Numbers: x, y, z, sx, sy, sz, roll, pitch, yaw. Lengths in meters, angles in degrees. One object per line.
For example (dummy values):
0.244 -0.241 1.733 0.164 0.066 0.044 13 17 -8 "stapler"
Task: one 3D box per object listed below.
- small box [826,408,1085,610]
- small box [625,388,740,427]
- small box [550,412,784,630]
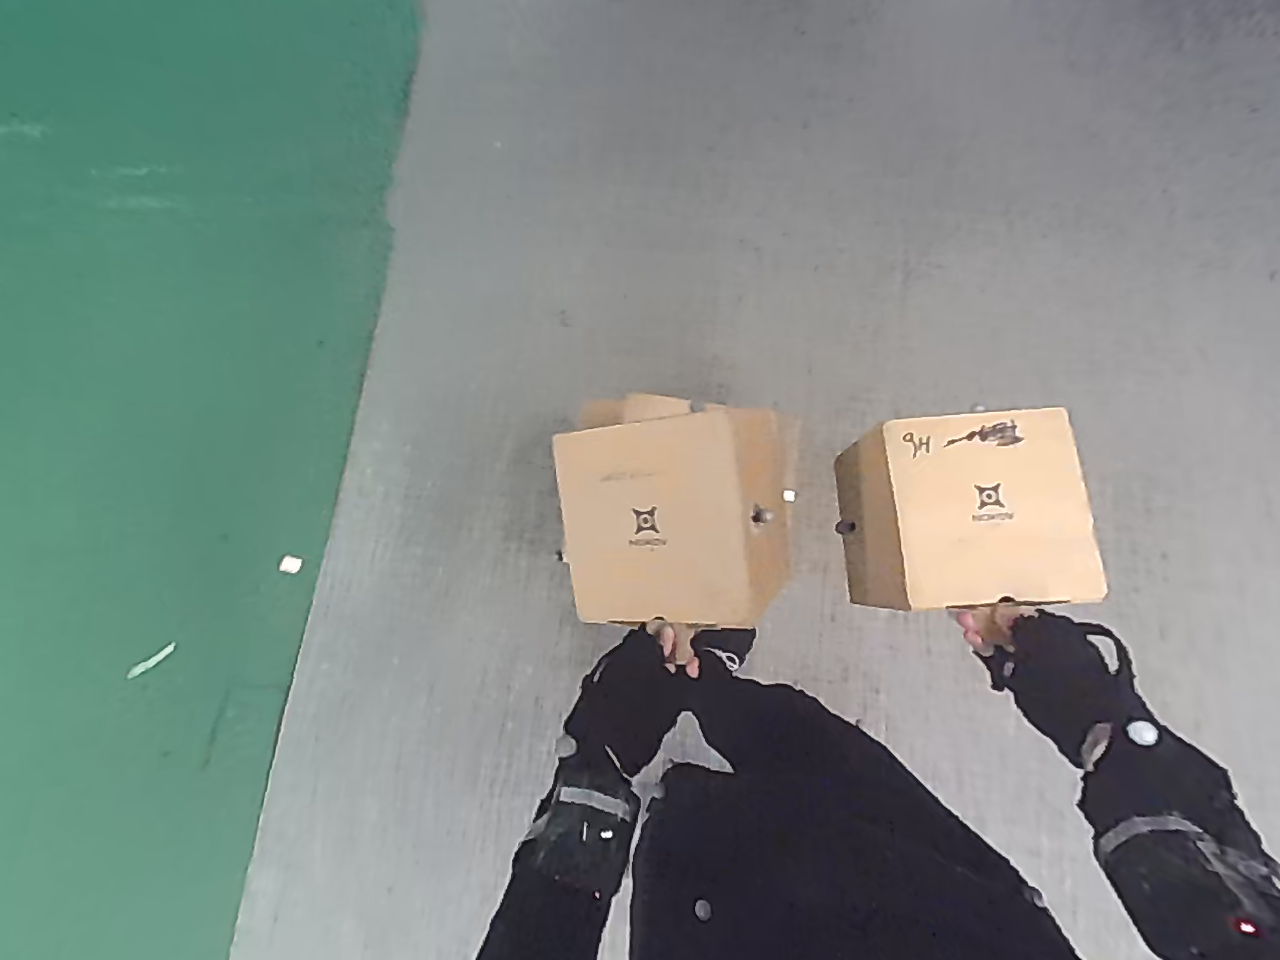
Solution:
0.308 0.036 0.567 0.168 0.176 0.179 -4 80 2 "small box"
0.058 -0.038 0.904 0.179 0.176 0.168 13 84 4 "small box"
0.038 0.031 0.527 0.168 0.176 0.179 -6 94 25 "small box"
